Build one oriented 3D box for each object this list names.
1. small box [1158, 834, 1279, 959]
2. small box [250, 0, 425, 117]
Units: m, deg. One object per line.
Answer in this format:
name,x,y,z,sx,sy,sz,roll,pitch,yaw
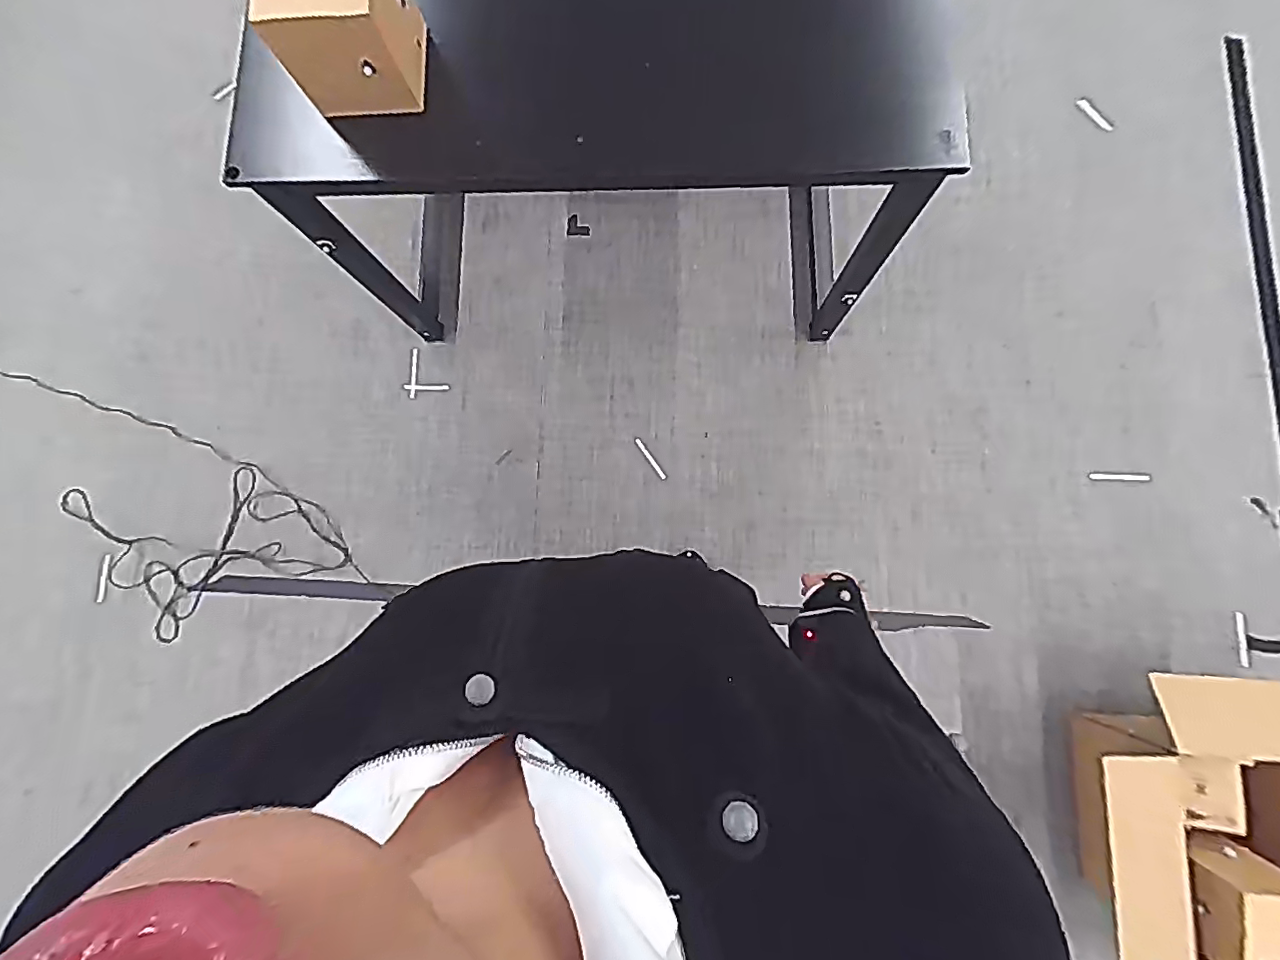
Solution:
small box,1.199,0.859,1.088,0.168,0.176,0.179,4,86,3
small box,-0.452,-0.701,0.836,0.179,0.176,0.168,-2,81,3
